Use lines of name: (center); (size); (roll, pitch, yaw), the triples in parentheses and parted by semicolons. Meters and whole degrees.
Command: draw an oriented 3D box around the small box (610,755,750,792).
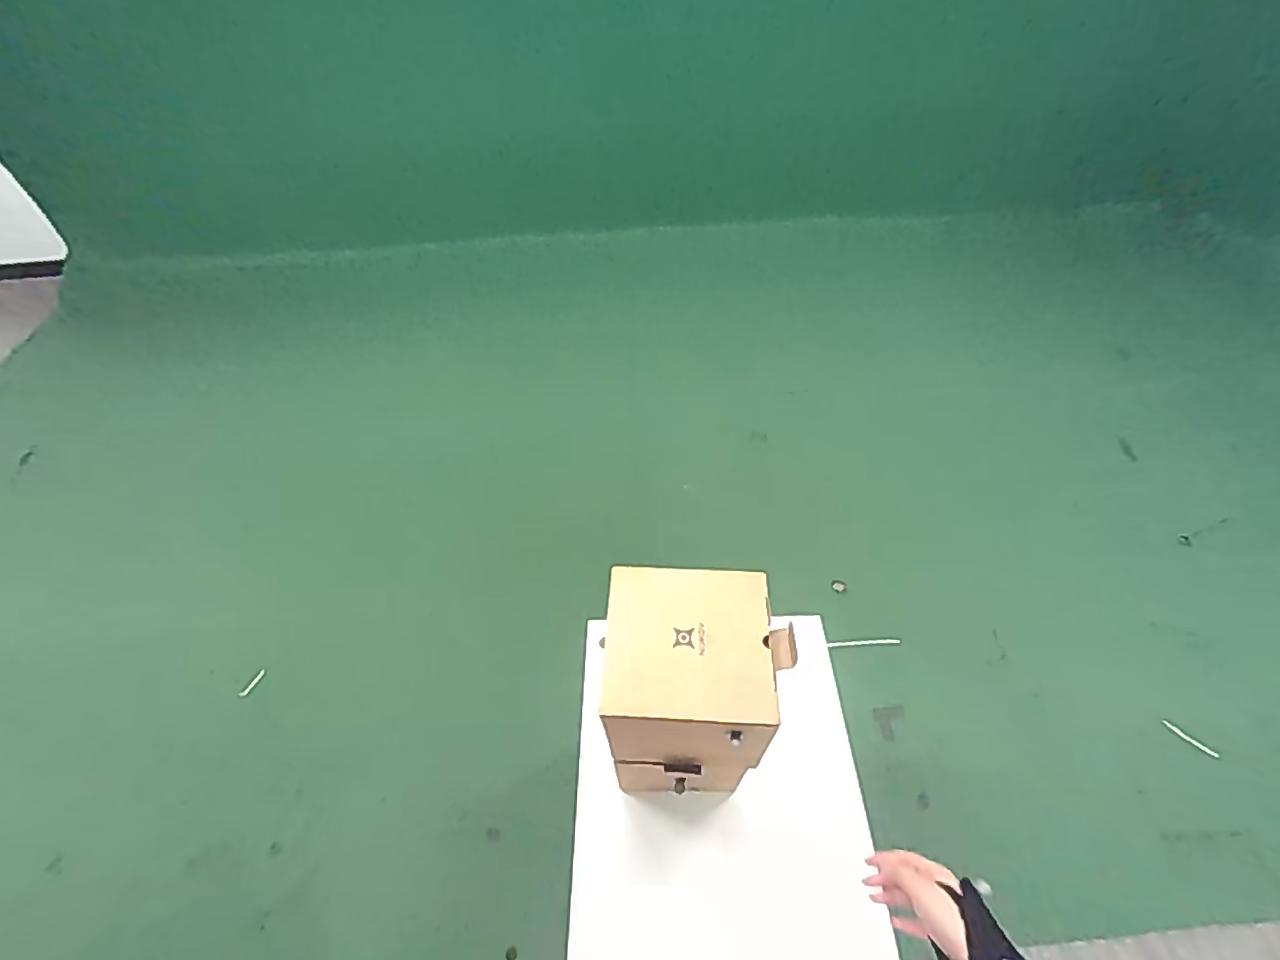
small box: (0.051, 0.316, 0.737); (0.168, 0.176, 0.179); (0, 51, 1)

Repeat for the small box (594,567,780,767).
small box: (0.050, 0.214, 0.610); (0.179, 0.176, 0.168); (2, 50, 3)
